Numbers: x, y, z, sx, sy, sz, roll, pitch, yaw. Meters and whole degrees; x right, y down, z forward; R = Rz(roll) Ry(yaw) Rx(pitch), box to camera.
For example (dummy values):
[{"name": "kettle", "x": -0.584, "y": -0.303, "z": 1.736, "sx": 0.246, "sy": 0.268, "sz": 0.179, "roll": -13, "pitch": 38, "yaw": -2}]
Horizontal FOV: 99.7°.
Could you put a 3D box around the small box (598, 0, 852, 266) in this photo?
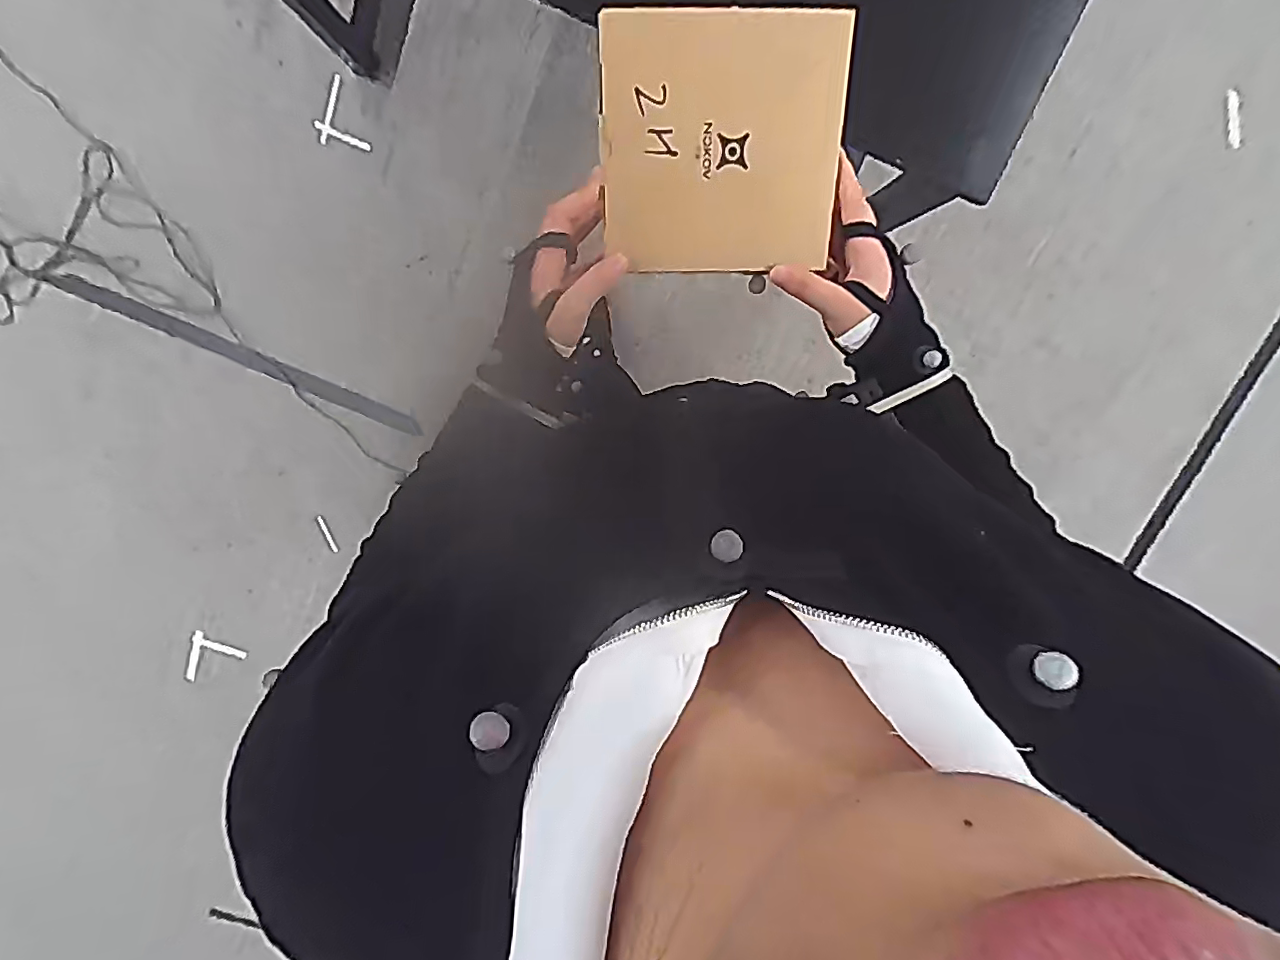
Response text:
[{"name": "small box", "x": 0.055, "y": -0.275, "z": 0.466, "sx": 0.179, "sy": 0.176, "sz": 0.168, "roll": 0, "pitch": 111, "yaw": -1}]
